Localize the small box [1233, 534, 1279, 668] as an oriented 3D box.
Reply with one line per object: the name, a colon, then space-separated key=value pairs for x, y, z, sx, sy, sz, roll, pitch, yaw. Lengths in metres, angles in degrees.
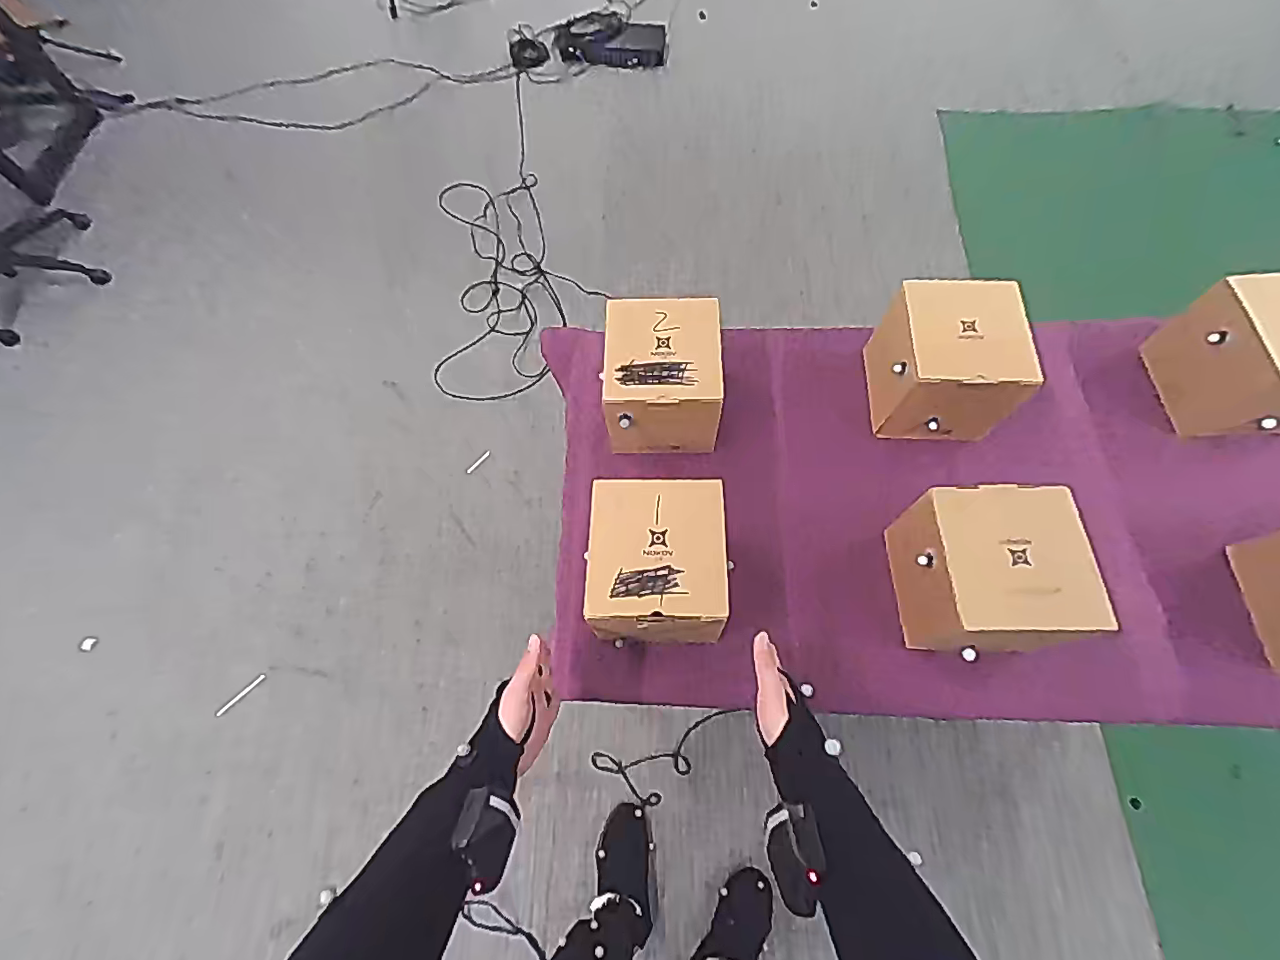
small box: x=0.898 y=0.144 z=0.652 sx=0.168 sy=0.176 sz=0.179 roll=0 pitch=67 yaw=6

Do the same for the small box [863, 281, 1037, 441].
small box: x=0.454 y=-0.177 z=0.826 sx=0.168 sy=0.176 sz=0.179 roll=2 pitch=69 yaw=4

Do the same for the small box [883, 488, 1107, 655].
small box: x=0.432 y=0.123 z=0.697 sx=0.168 sy=0.176 sz=0.179 roll=-1 pitch=66 yaw=5

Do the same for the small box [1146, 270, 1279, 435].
small box: x=0.909 y=-0.183 z=0.791 sx=0.168 sy=0.176 sz=0.179 roll=-2 pitch=67 yaw=6

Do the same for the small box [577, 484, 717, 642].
small box: x=0.015 y=0.117 z=0.726 sx=0.168 sy=0.176 sz=0.179 roll=0 pitch=64 yaw=3
